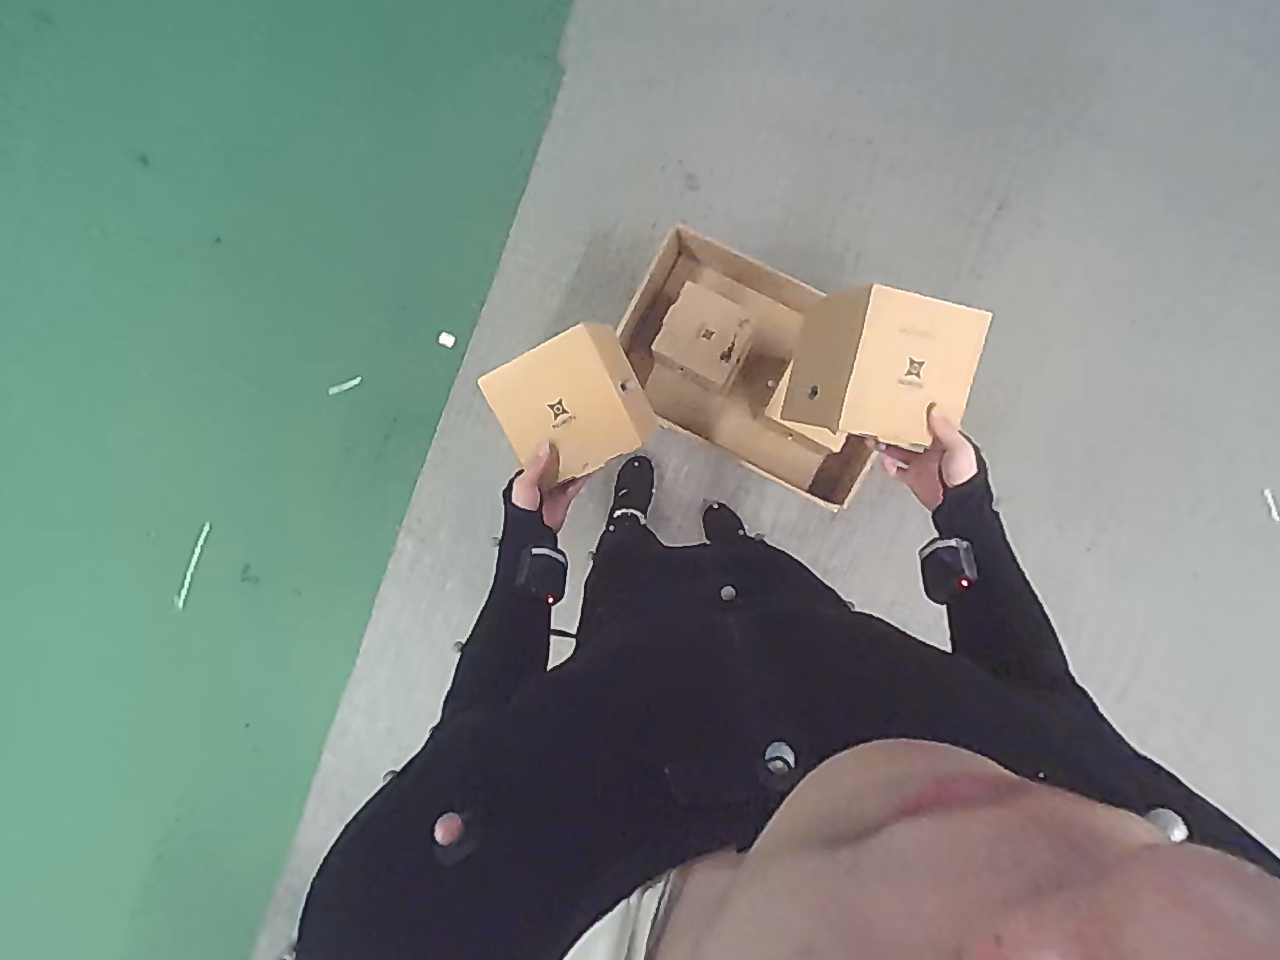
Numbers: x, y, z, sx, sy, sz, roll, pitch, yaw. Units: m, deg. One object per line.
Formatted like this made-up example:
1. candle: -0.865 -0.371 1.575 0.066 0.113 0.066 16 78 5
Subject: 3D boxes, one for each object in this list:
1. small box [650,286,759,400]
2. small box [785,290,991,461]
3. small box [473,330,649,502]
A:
1. small box: 0.142 -0.293 1.204 0.179 0.176 0.168 30 93 6
2. small box: 0.312 -0.134 0.720 0.168 0.176 0.179 9 98 -11
3. small box: -0.099 -0.096 0.768 0.168 0.176 0.179 -25 101 12
